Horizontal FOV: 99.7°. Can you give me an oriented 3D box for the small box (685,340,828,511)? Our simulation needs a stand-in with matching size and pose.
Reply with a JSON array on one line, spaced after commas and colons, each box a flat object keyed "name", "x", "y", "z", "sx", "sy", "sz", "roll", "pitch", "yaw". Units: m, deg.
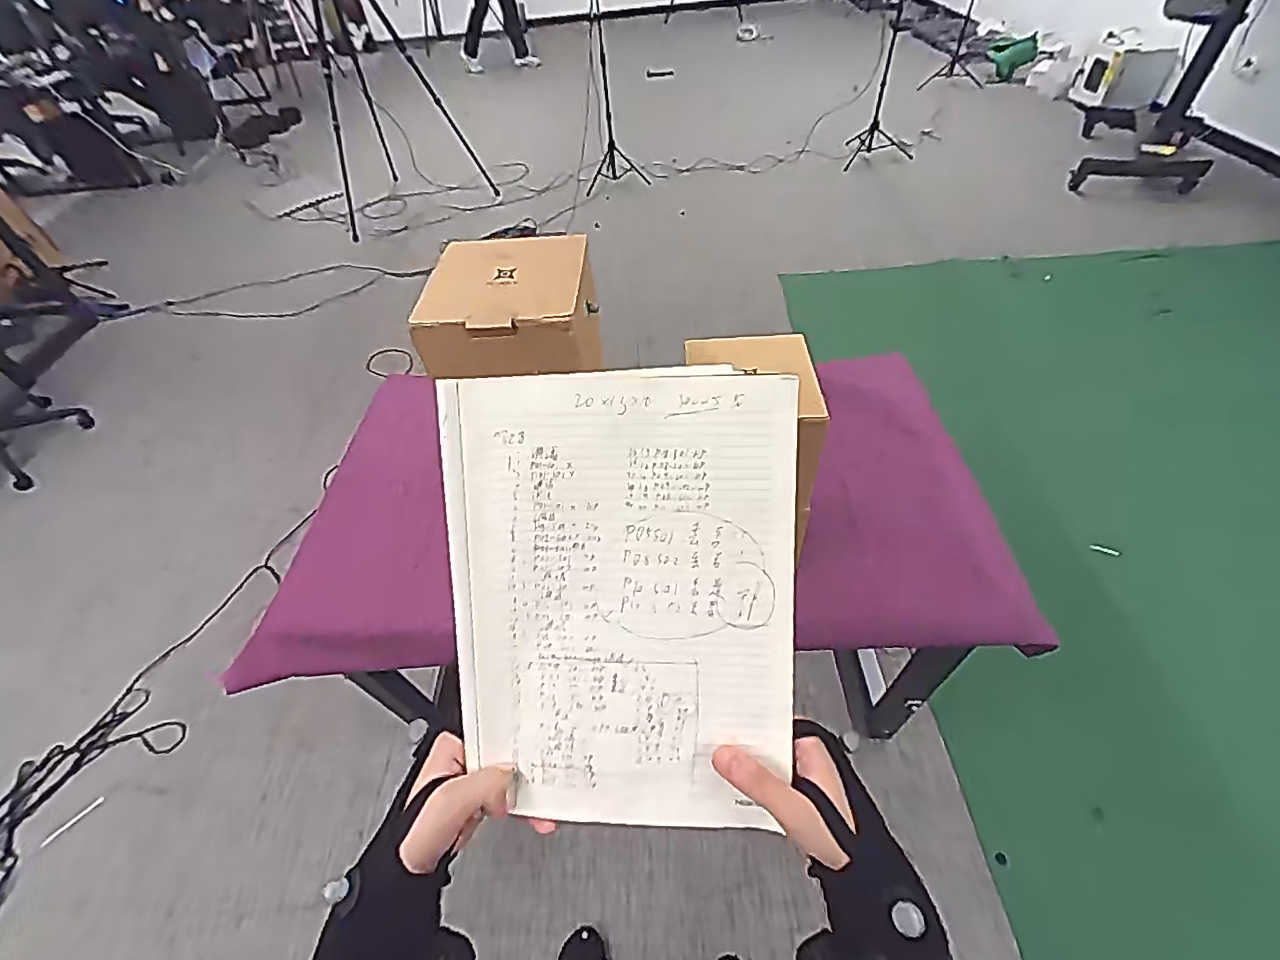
[{"name": "small box", "x": 0.148, "y": -0.075, "z": 0.759, "sx": 0.168, "sy": 0.176, "sz": 0.179, "roll": -2, "pitch": 48, "yaw": 4}]

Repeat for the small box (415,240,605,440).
[{"name": "small box", "x": -0.135, "y": -0.161, "z": 0.642, "sx": 0.168, "sy": 0.176, "sz": 0.179, "roll": -1, "pitch": 48, "yaw": 3}]

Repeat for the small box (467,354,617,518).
[{"name": "small box", "x": -0.124, "y": -0.057, "z": 0.768, "sx": 0.168, "sy": 0.176, "sz": 0.179, "roll": -2, "pitch": 48, "yaw": 4}]

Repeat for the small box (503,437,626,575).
[{"name": "small box", "x": -0.112, "y": 0.046, "z": 0.896, "sx": 0.168, "sy": 0.176, "sz": 0.179, "roll": -2, "pitch": 50, "yaw": 3}]
